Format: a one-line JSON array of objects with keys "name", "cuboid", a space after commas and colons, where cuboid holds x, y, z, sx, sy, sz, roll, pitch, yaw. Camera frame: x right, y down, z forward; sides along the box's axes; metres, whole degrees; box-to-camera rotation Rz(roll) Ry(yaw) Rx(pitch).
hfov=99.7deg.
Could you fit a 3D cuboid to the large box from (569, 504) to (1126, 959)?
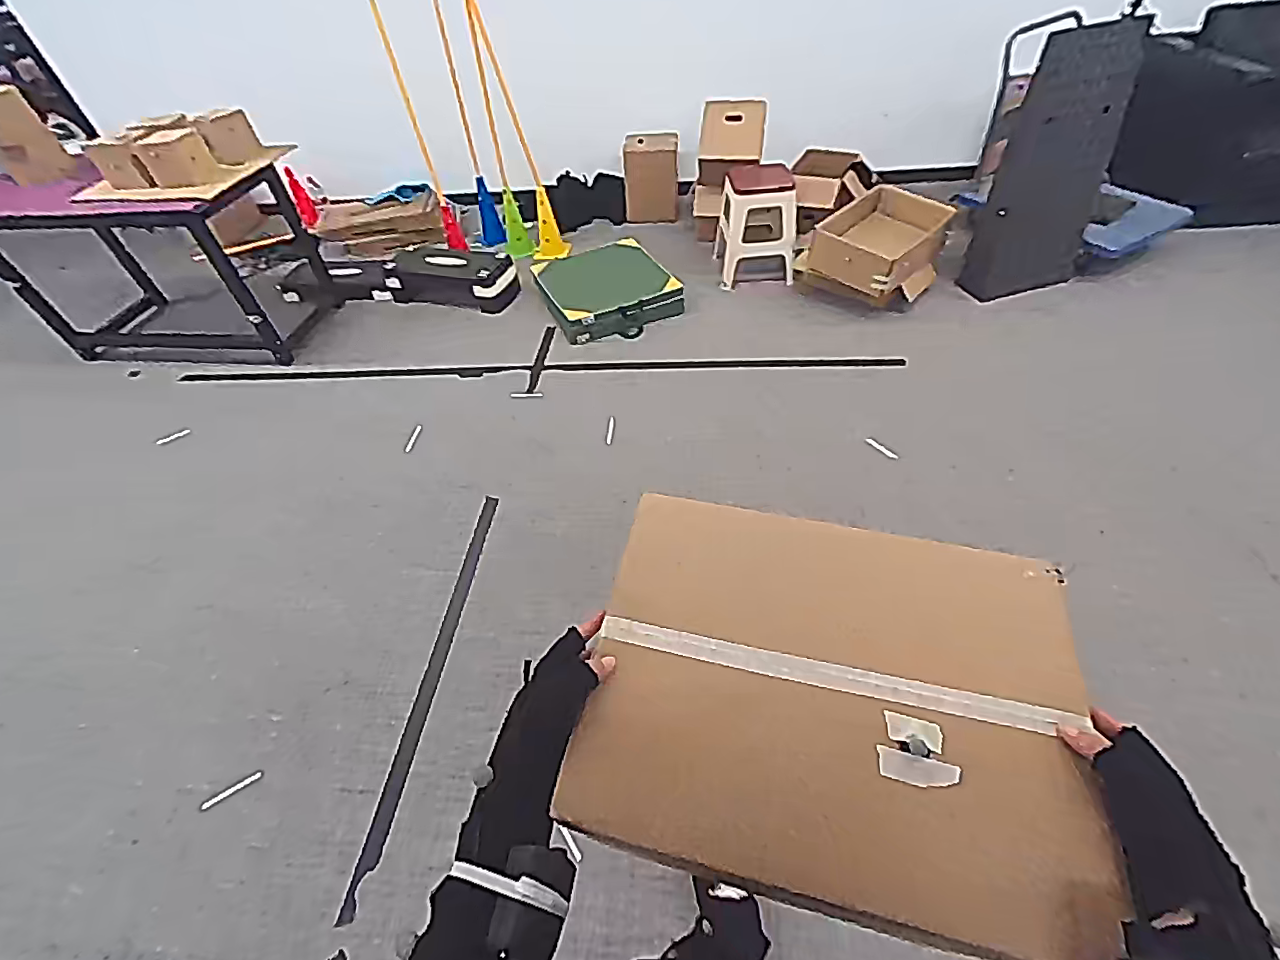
[{"name": "large box", "cuboid": [0.174, 0.263, 0.598, 0.408, 0.320, 0.320, 10, 55, 11]}]
